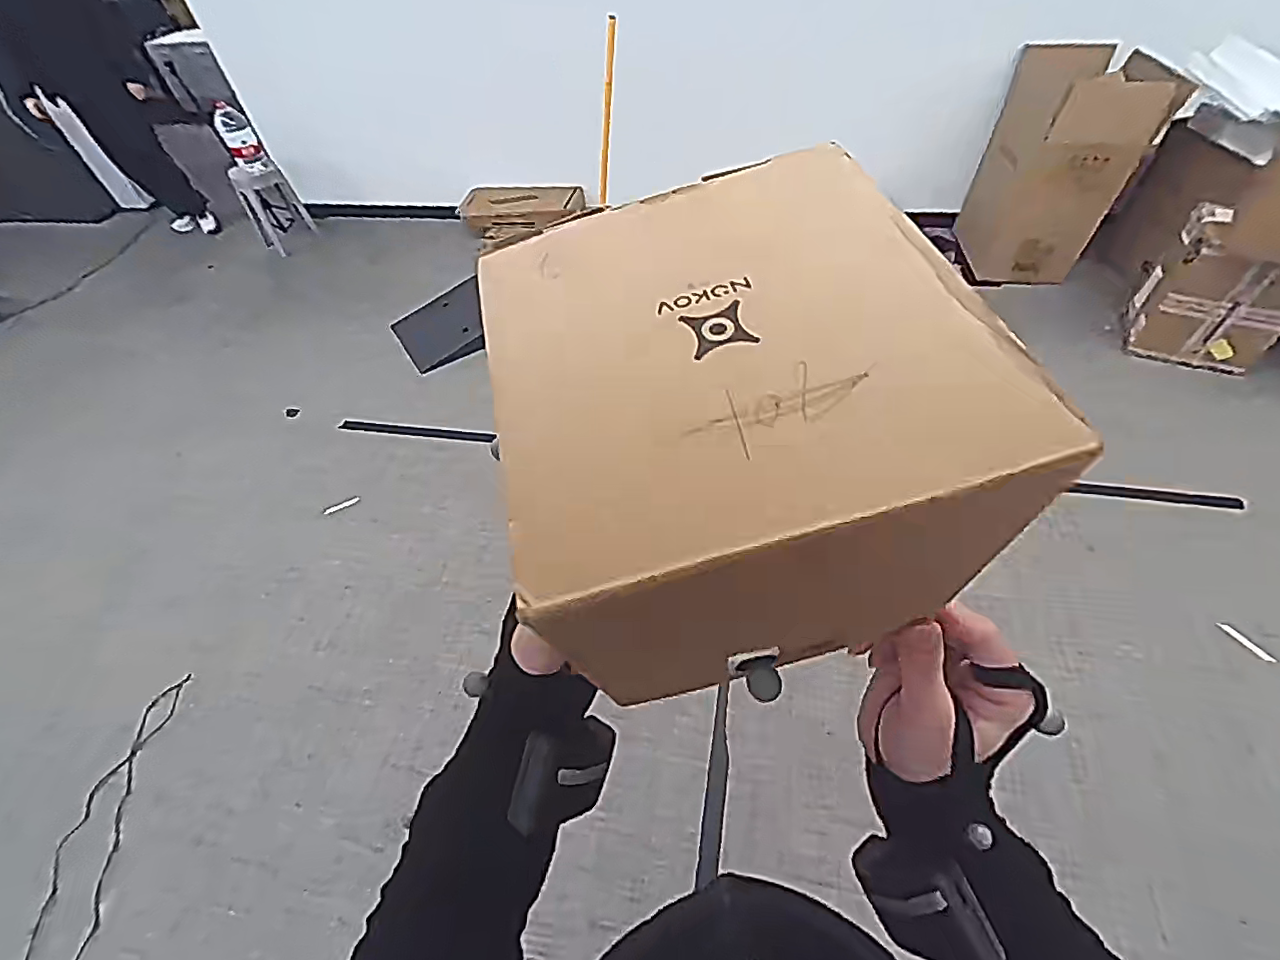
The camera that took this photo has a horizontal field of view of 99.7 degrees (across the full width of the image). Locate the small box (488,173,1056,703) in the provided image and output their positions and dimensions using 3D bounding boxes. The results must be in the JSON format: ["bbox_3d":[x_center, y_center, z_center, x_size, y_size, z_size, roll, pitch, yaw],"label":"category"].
[{"bbox_3d":[0.039,-0.009,0.272,0.168,0.176,0.179,-17,58,1],"label":"small box"}]
